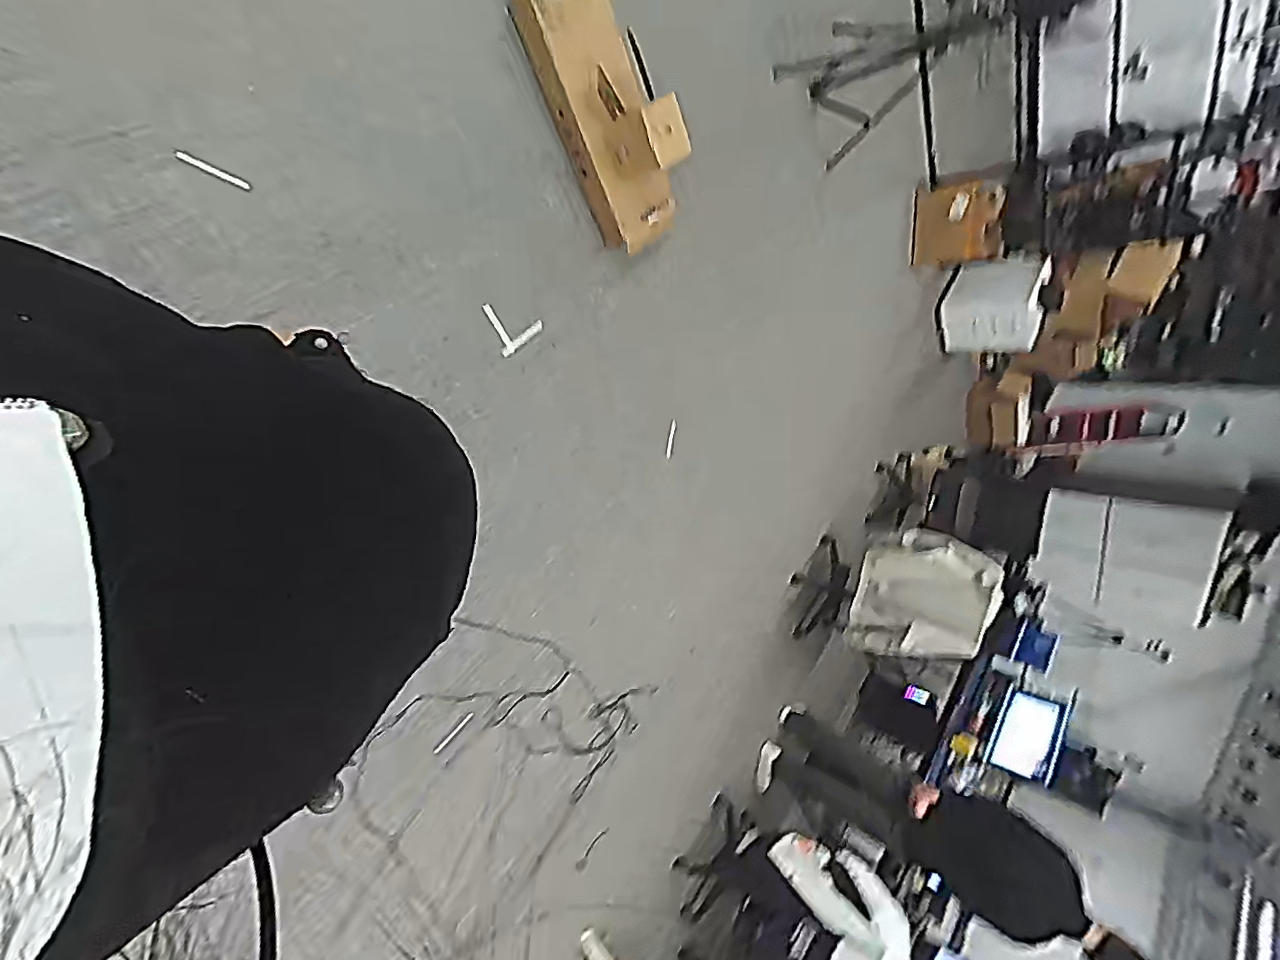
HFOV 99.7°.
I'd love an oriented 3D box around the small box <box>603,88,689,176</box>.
[{"bbox_3d":[0.019,-1.078,1.682,0.179,0.176,0.168,-47,128,-28],"label":"small box"}]
